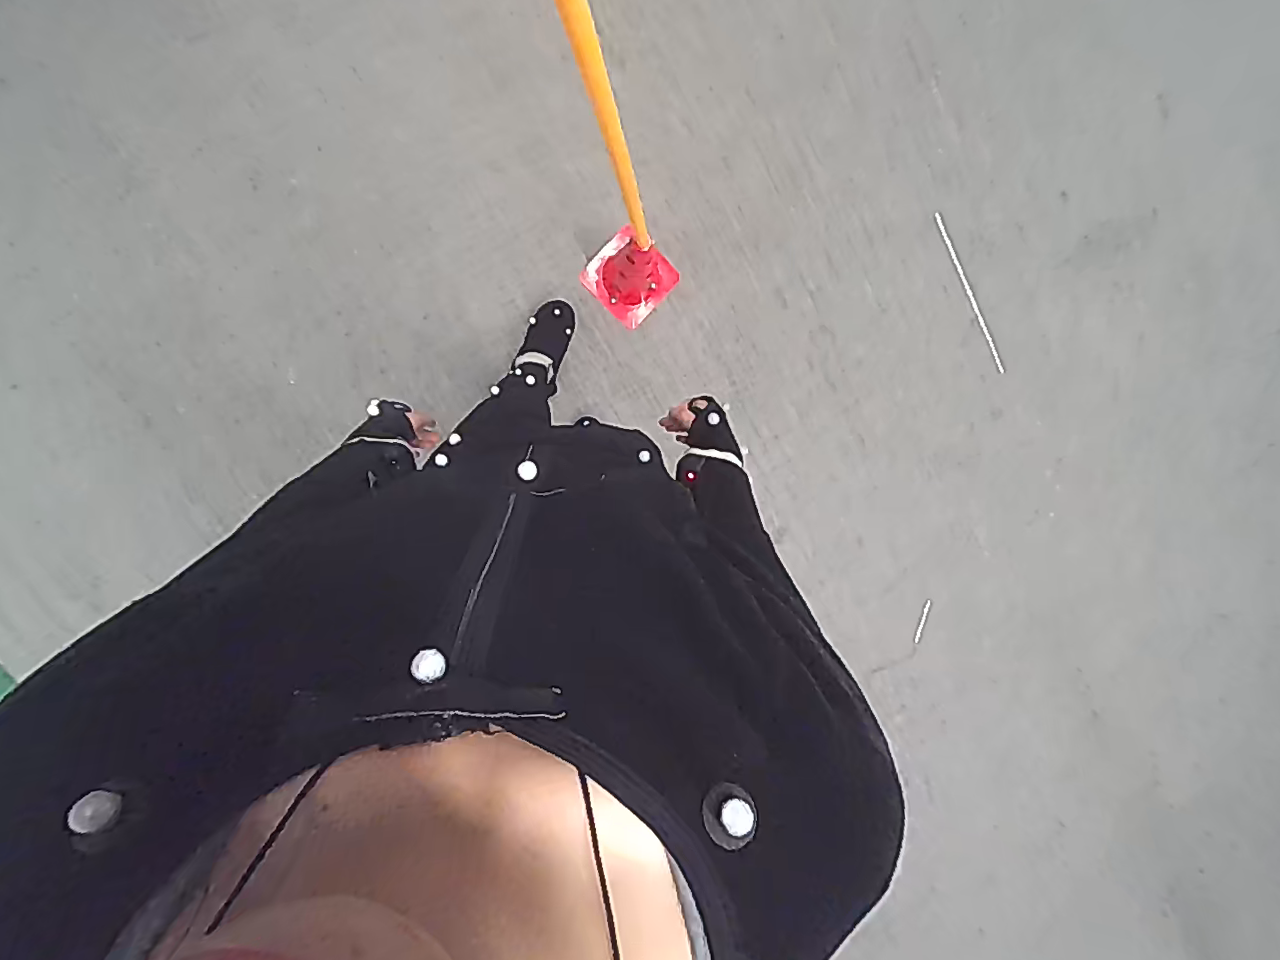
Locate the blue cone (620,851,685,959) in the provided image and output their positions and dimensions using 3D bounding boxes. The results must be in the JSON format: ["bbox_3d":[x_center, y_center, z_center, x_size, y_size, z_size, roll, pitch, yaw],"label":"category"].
[{"bbox_3d":[0.067,1.285,1.547,0.193,0.380,0.192,13,97,-11],"label":"blue cone"}]
